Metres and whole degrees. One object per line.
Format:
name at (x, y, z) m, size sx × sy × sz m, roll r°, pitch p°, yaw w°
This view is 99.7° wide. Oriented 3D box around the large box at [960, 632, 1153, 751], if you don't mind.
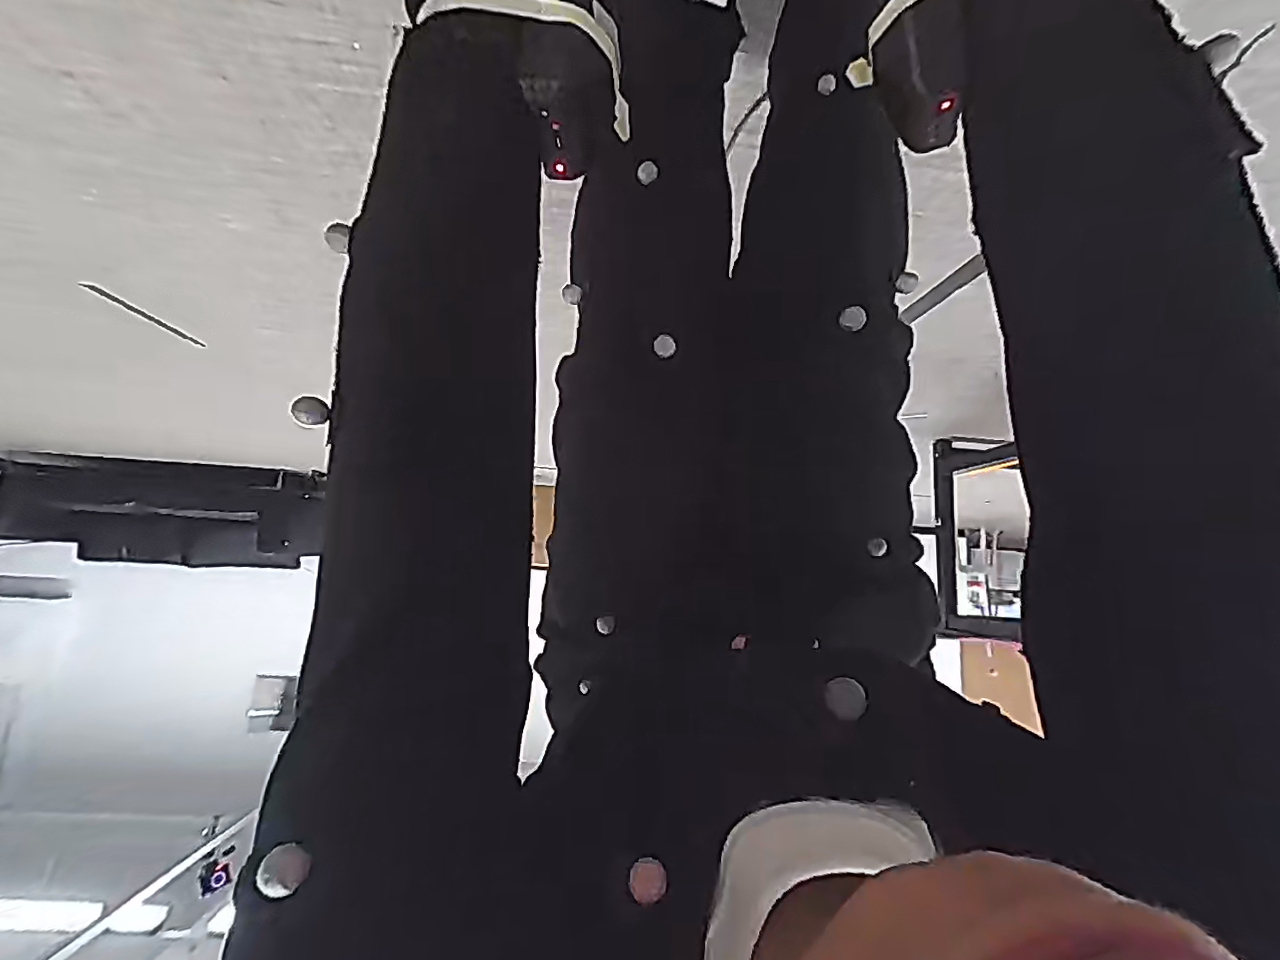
large box at (1.361, 0.689, 1.804) m, size 0.408 × 0.320 × 0.320 m, roll 3°, pitch 172°, yaw -4°
